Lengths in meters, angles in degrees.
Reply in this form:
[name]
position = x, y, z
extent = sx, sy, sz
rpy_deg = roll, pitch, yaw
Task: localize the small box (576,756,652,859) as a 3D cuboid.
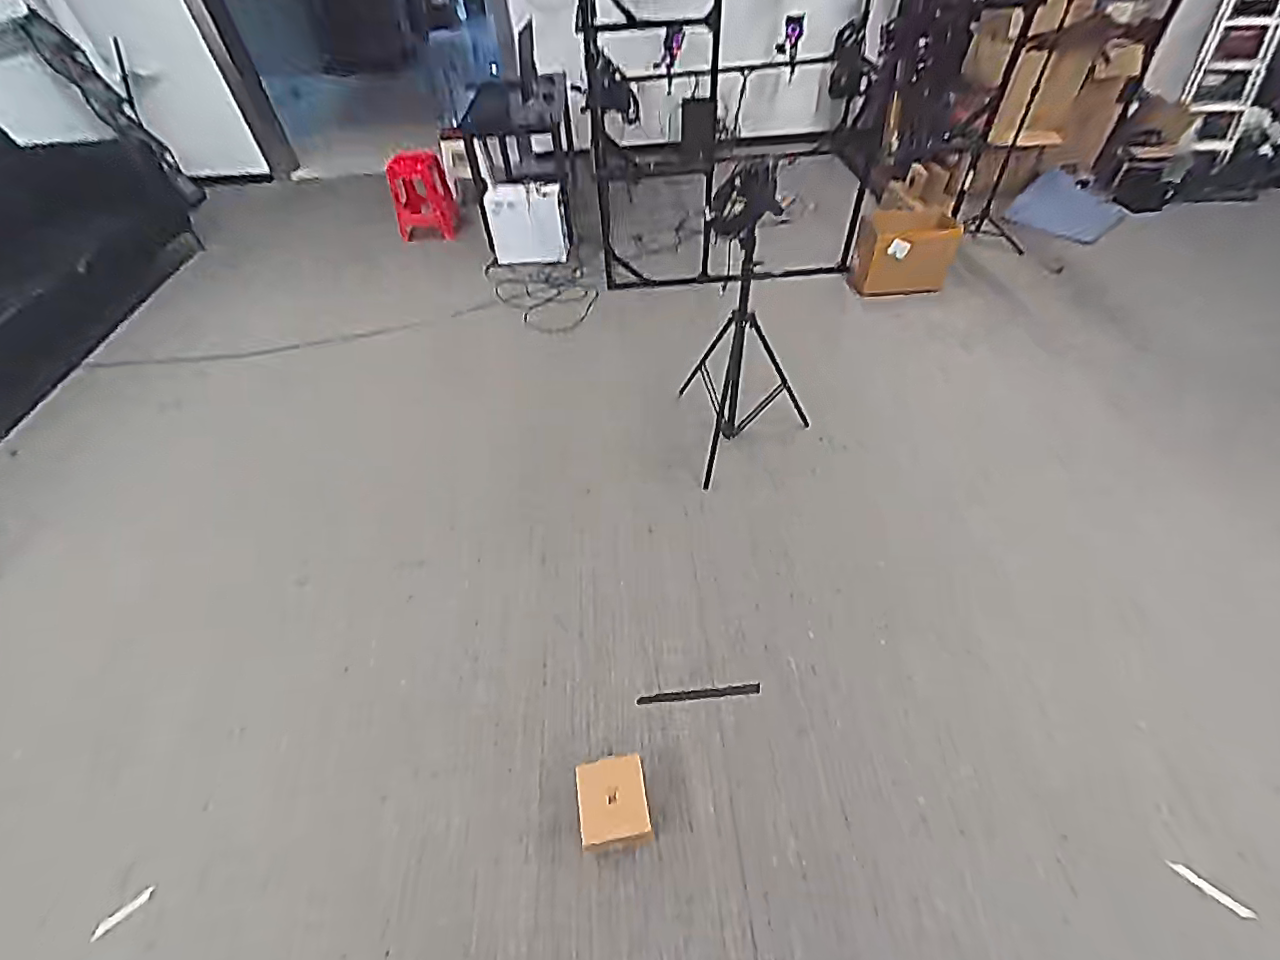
[small box]
position = -0.065, 0.827, 1.365
extent = 0.168, 0.176, 0.179
rpy_deg = -9, 48, -4
